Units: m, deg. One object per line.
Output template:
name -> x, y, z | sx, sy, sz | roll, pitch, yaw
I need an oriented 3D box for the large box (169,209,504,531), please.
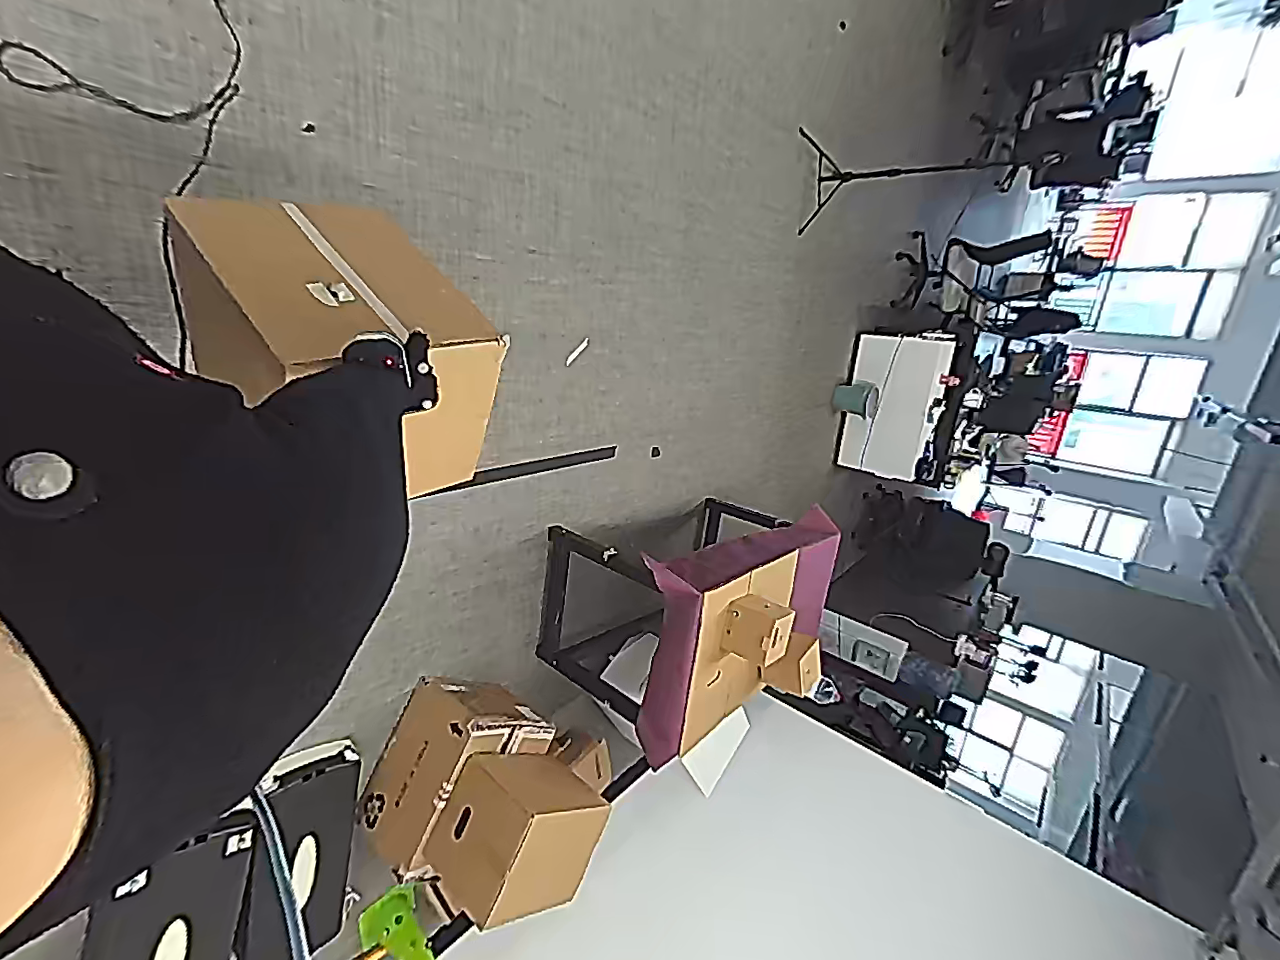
large box -> -0.502, -0.193, 0.905 | 0.320, 0.408, 0.320 | -25, 153, -45
